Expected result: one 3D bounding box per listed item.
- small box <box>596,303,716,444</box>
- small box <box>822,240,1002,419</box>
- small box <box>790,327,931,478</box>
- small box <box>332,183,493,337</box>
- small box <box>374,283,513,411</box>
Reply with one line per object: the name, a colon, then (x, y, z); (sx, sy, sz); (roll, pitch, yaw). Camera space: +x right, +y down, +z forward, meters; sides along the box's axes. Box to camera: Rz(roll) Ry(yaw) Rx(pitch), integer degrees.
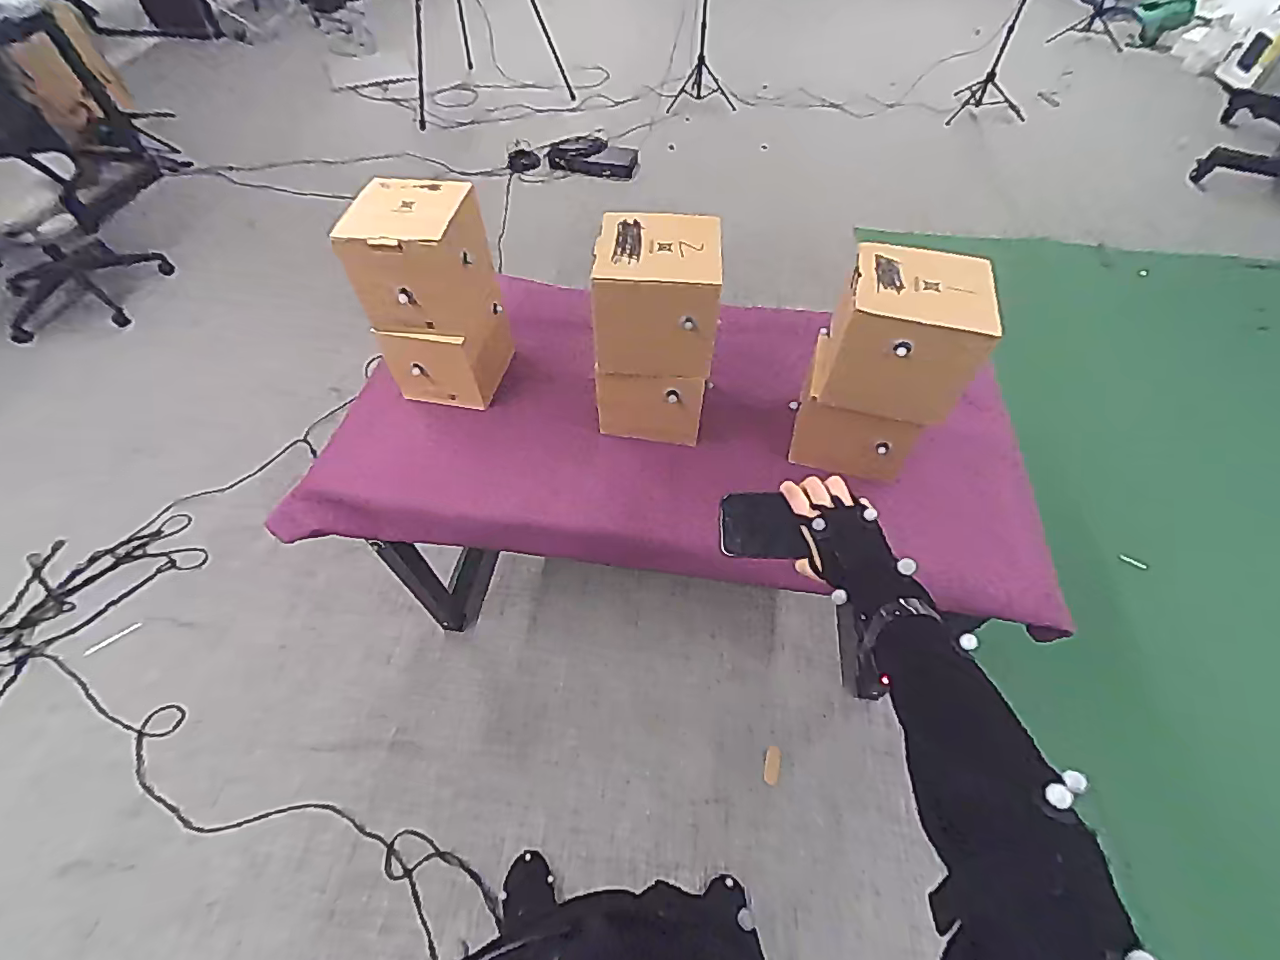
small box: (0.031, -0.182, 0.948); (0.179, 0.176, 0.168); (8, 54, 7)
small box: (0.367, -0.208, 0.760); (0.179, 0.176, 0.168); (13, 55, 9)
small box: (0.364, -0.124, 0.902); (0.179, 0.176, 0.168); (13, 55, 11)
small box: (-0.351, -0.353, 0.878); (0.168, 0.176, 0.179); (4, 55, 3)
small box: (-0.350, -0.250, 1.006); (0.168, 0.176, 0.179); (8, 54, 7)
